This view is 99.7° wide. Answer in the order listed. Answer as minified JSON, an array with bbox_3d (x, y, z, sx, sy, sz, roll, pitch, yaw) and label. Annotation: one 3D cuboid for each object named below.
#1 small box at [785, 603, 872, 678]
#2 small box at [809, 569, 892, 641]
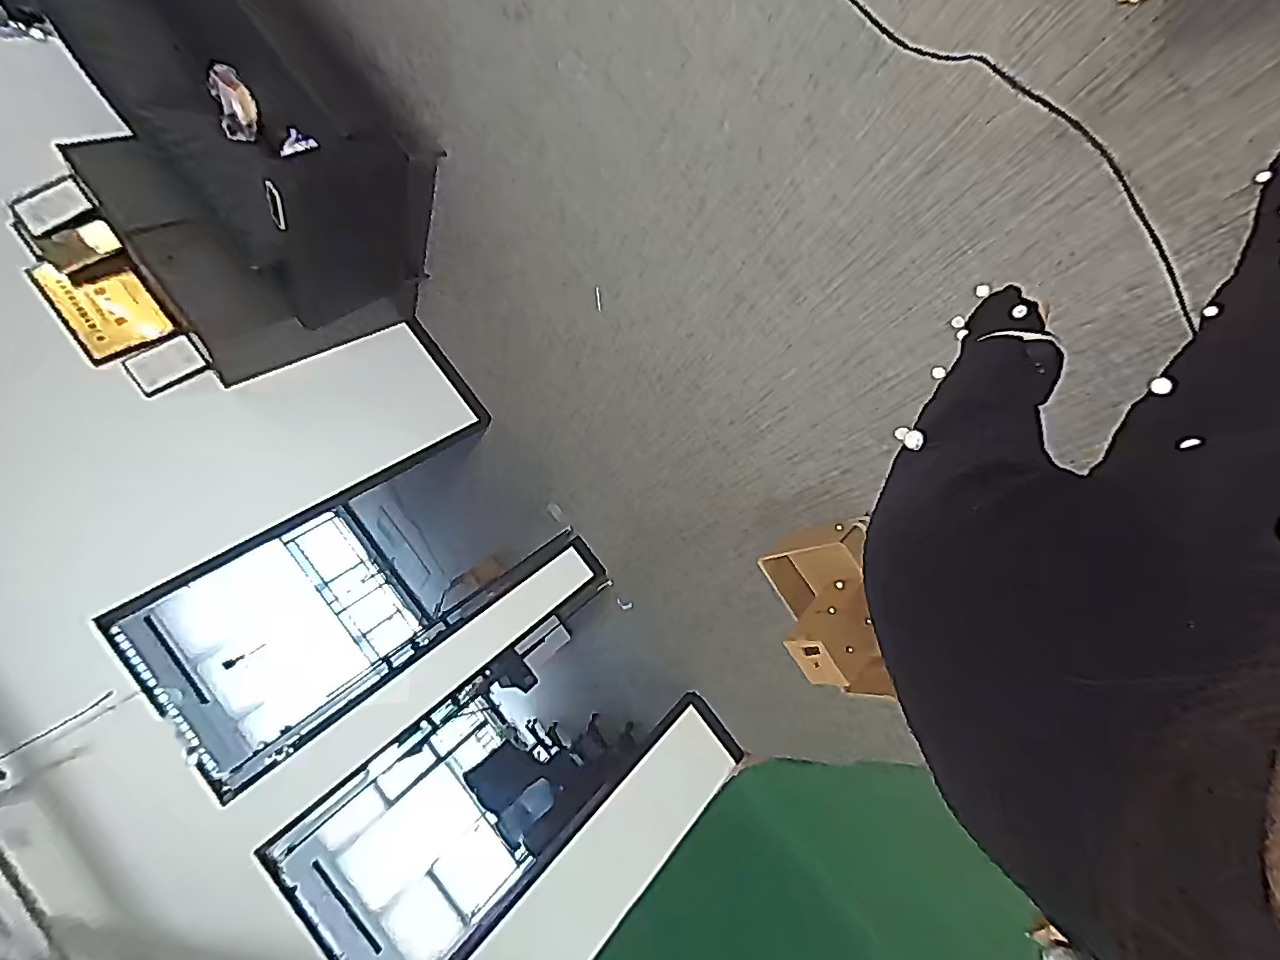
[{"bbox_3d":[0.615,0.513,1.757,0.179,0.176,0.168,55,147,-5],"label":"small box"},{"bbox_3d":[0.724,0.429,1.848,0.179,0.176,0.168,56,147,-4],"label":"small box"}]
